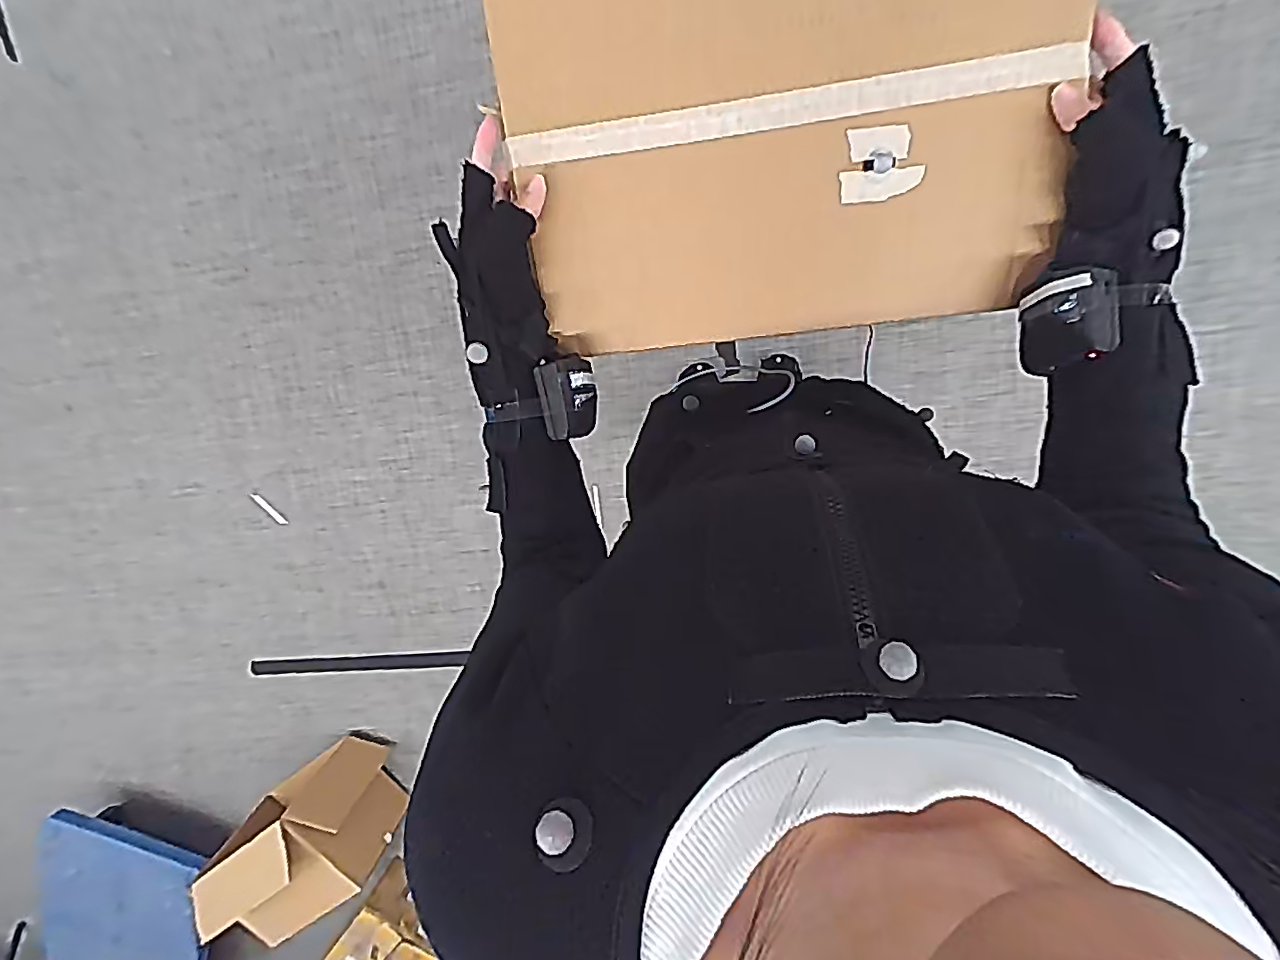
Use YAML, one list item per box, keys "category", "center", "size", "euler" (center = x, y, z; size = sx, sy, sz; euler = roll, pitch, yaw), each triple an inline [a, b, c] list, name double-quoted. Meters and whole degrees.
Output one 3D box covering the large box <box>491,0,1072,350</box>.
- category: "large box"
  center: [0.109, -0.325, 0.540]
  size: [0.408, 0.320, 0.320]
  euler: [-6, 110, 5]
